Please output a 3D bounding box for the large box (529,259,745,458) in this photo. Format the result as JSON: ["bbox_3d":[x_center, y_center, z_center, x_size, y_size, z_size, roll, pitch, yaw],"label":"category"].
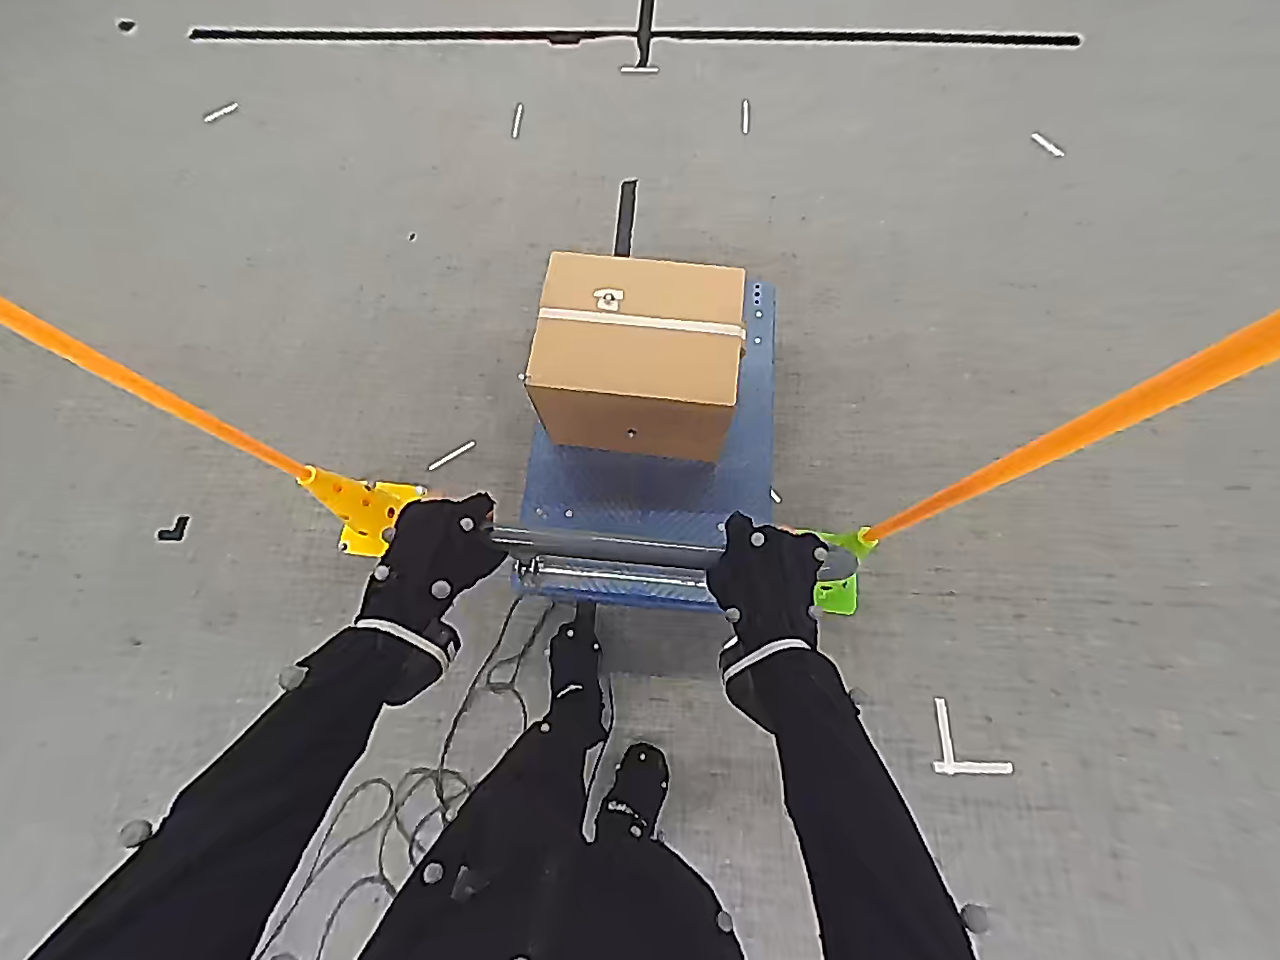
[{"bbox_3d":[0.007,-0.254,1.211,0.408,0.320,0.320,7,72,4],"label":"large box"}]

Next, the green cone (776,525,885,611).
[{"bbox_3d":[0.447,0.167,1.207,0.202,0.368,0.200,7,71,3],"label":"green cone"}]
